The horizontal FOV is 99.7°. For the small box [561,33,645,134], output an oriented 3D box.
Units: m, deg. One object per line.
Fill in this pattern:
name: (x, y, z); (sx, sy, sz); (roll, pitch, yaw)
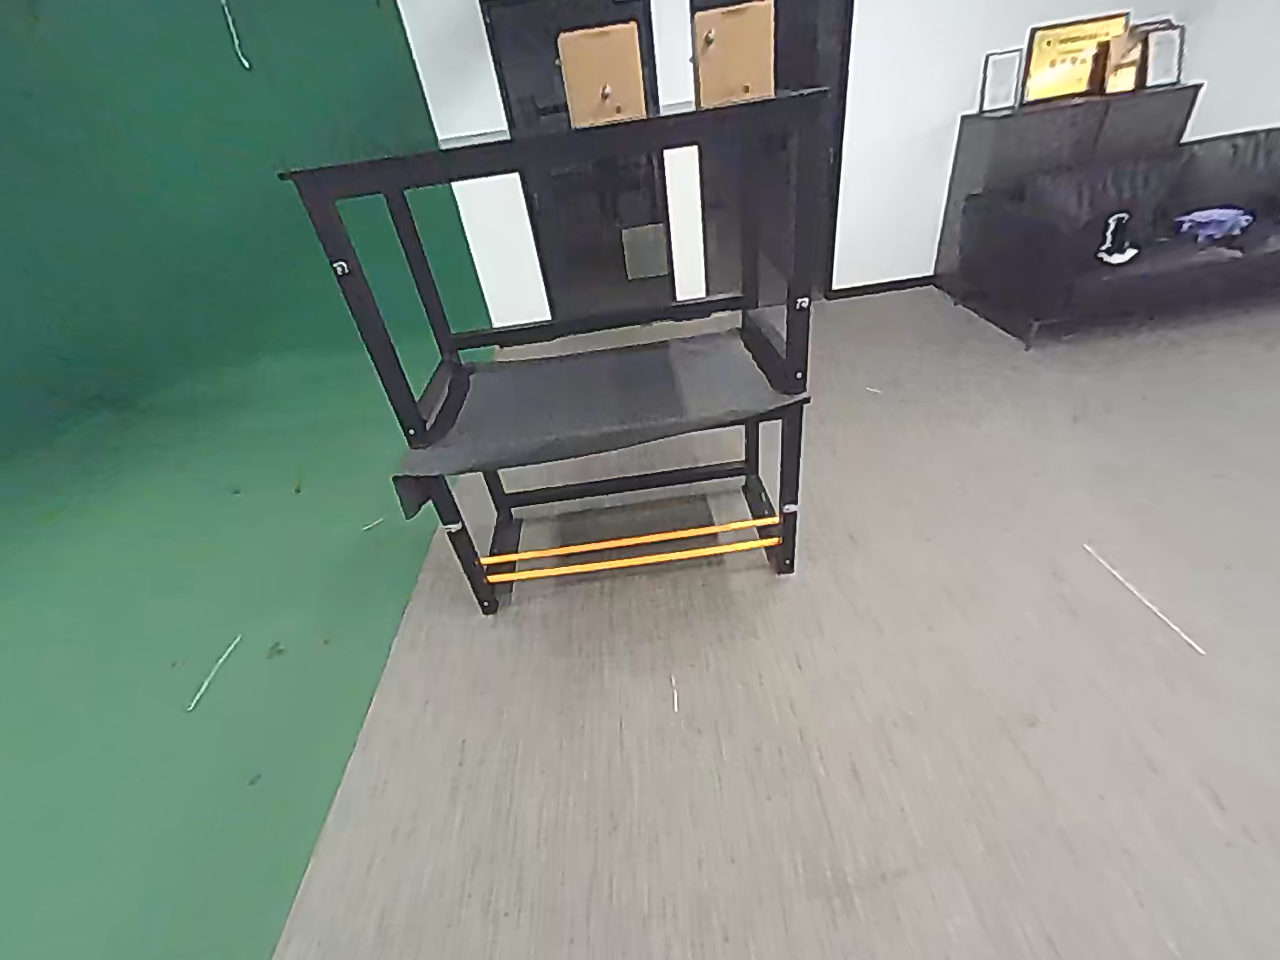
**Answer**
small box: (-0.088, -0.924, 1.271); (0.168, 0.176, 0.179); (-11, 35, -2)
